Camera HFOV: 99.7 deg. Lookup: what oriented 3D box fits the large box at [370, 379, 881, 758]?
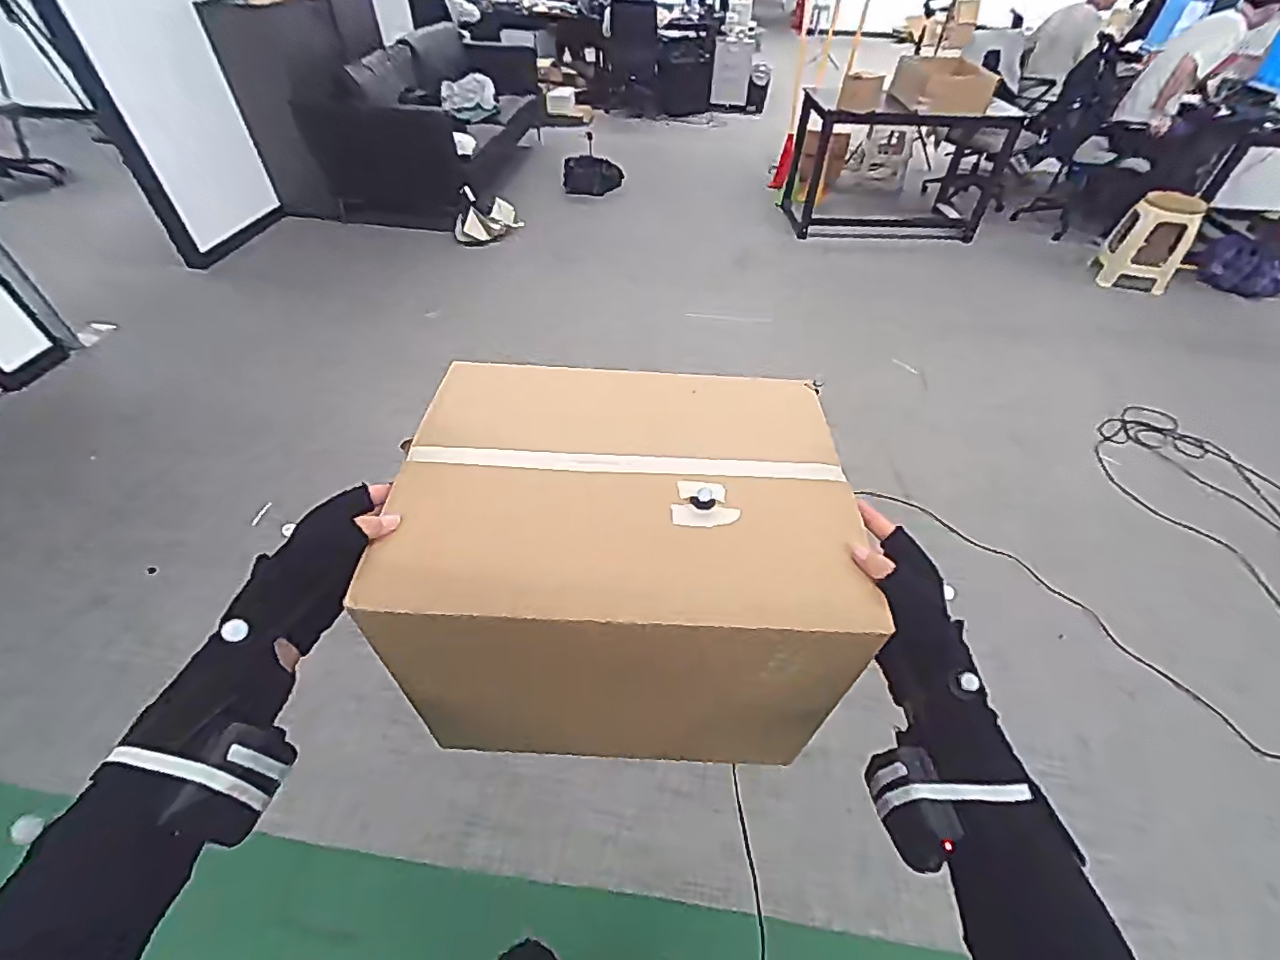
[{"bbox_3d":[-0.018,0.105,0.621,0.408,0.320,0.320,3,46,-2],"label":"large box"}]
